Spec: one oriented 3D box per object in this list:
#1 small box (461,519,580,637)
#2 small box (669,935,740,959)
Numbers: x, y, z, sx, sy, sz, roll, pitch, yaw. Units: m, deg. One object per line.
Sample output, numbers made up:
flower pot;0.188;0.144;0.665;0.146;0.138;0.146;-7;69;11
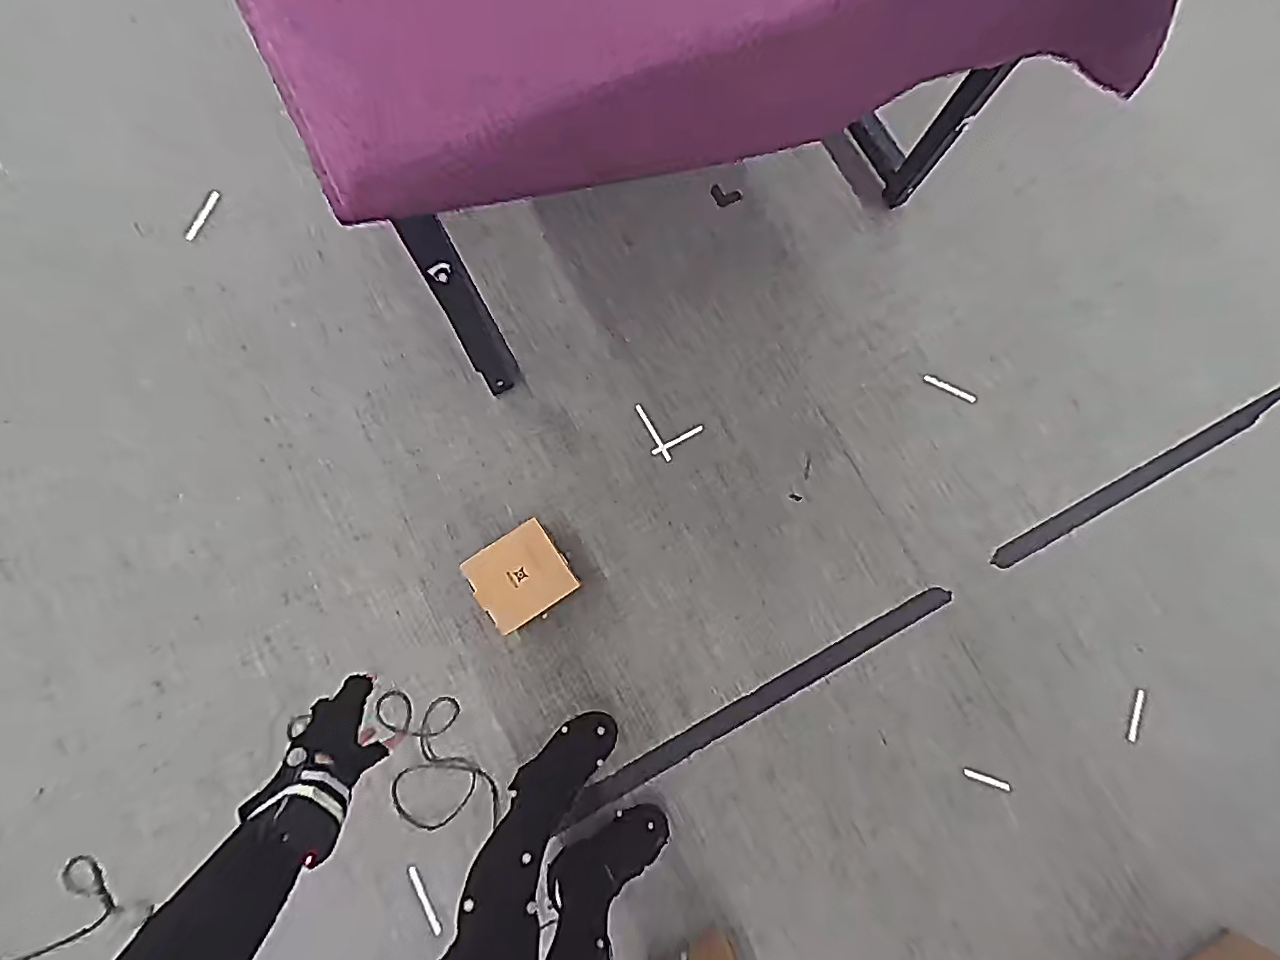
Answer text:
small box;-0.236;0.202;1.122;0.179;0.176;0.168;-34;85;-10
small box;0.132;1.009;1.001;0.179;0.176;0.168;-19;82;-6
